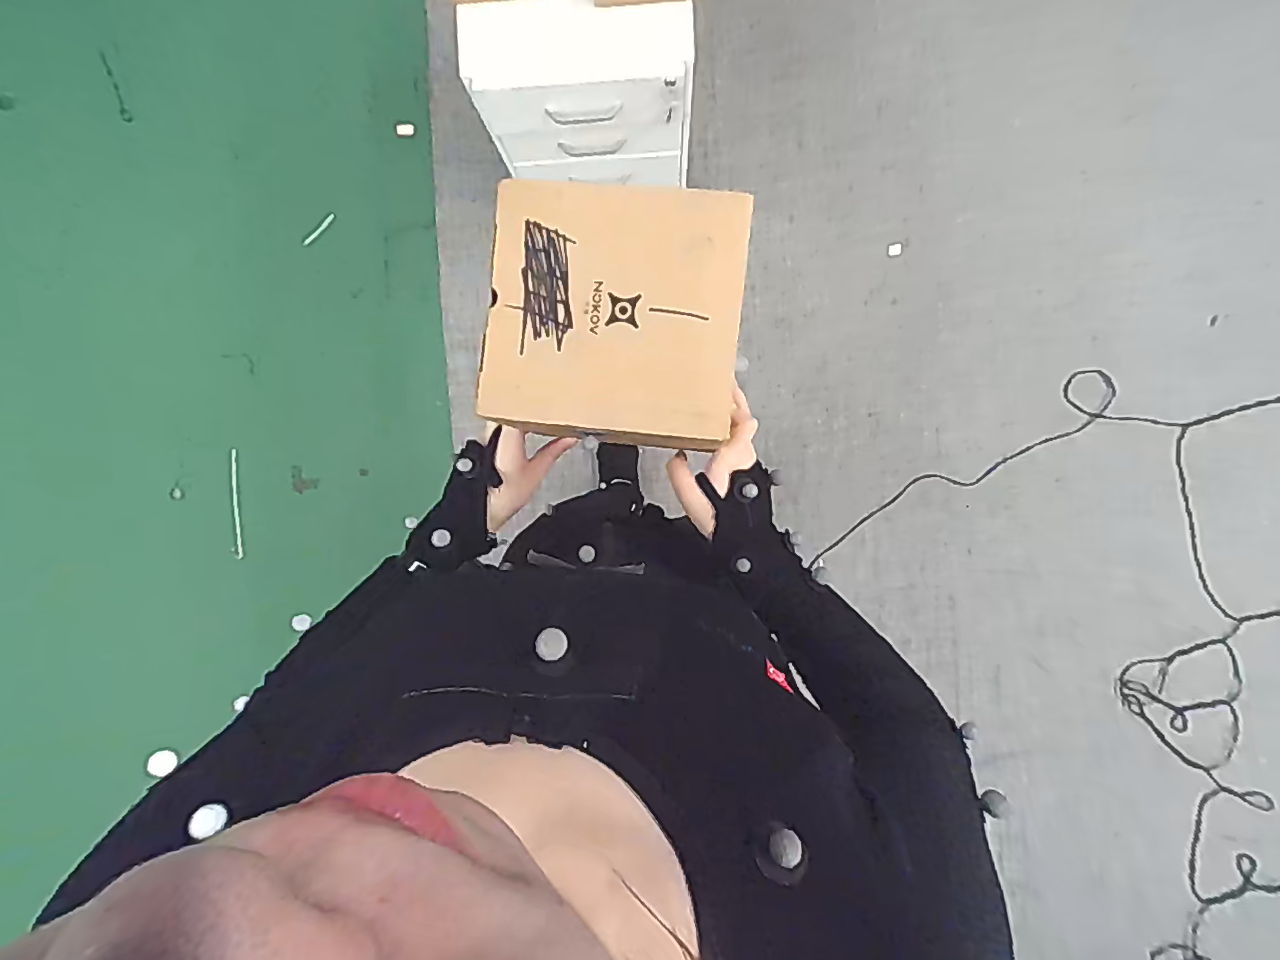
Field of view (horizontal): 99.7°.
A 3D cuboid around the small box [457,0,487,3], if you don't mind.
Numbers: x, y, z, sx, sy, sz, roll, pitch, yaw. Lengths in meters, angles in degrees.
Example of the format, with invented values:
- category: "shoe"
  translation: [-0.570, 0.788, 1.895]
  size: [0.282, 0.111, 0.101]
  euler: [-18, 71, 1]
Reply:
- category: "small box"
  translation: [-0.236, -0.880, 0.825]
  size: [0.179, 0.176, 0.168]
  euler: [-3, 90, 2]

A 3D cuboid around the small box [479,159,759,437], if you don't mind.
- category: "small box"
  translation: [-0.010, -0.129, 0.444]
  size: [0.179, 0.176, 0.168]
  euler: [7, 91, 4]
